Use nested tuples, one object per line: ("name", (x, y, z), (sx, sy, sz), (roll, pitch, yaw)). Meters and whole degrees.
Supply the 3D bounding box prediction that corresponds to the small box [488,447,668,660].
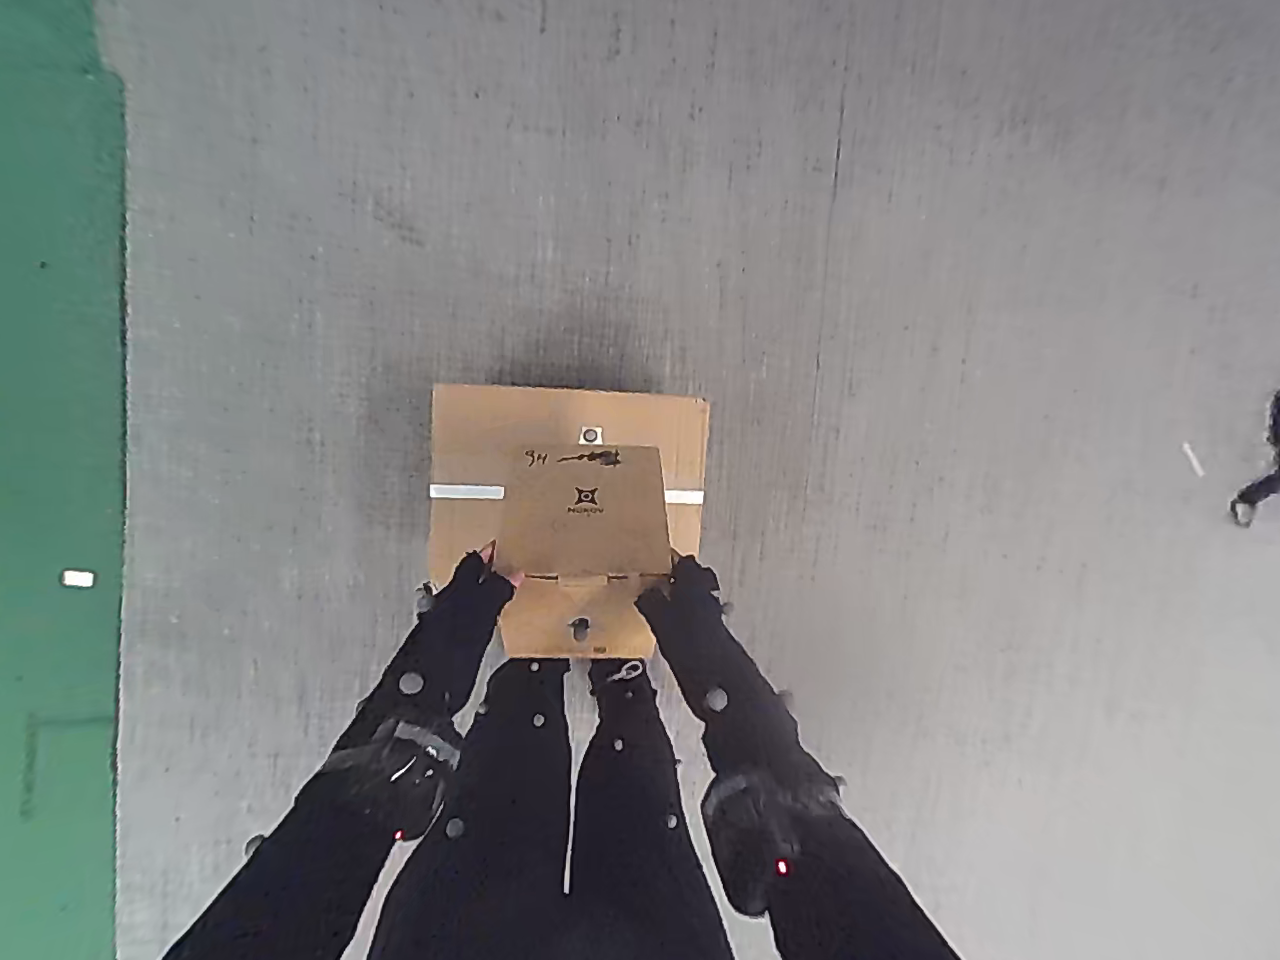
("small box", (-0.062, 0.085, 0.595), (0.168, 0.179, 0.176), (2, 137, -5))
